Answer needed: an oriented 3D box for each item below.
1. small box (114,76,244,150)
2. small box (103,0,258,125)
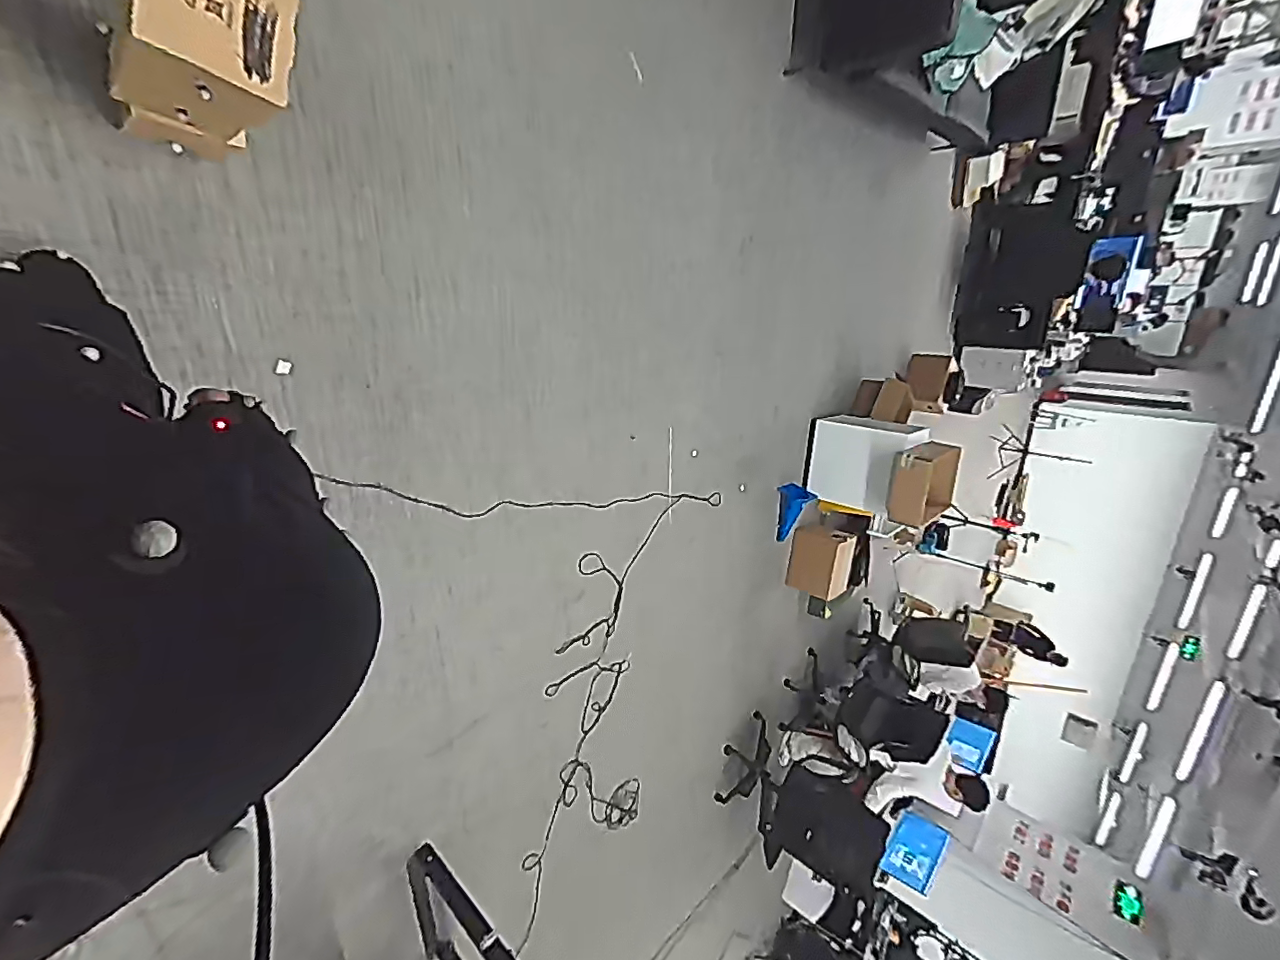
[{"bbox_3d":[-0.854,-0.743,0.999,0.168,0.176,0.179,-6,108,-47],"label":"small box"},{"bbox_3d":[-0.746,-0.714,0.877,0.168,0.176,0.179,0,104,-50],"label":"small box"}]
